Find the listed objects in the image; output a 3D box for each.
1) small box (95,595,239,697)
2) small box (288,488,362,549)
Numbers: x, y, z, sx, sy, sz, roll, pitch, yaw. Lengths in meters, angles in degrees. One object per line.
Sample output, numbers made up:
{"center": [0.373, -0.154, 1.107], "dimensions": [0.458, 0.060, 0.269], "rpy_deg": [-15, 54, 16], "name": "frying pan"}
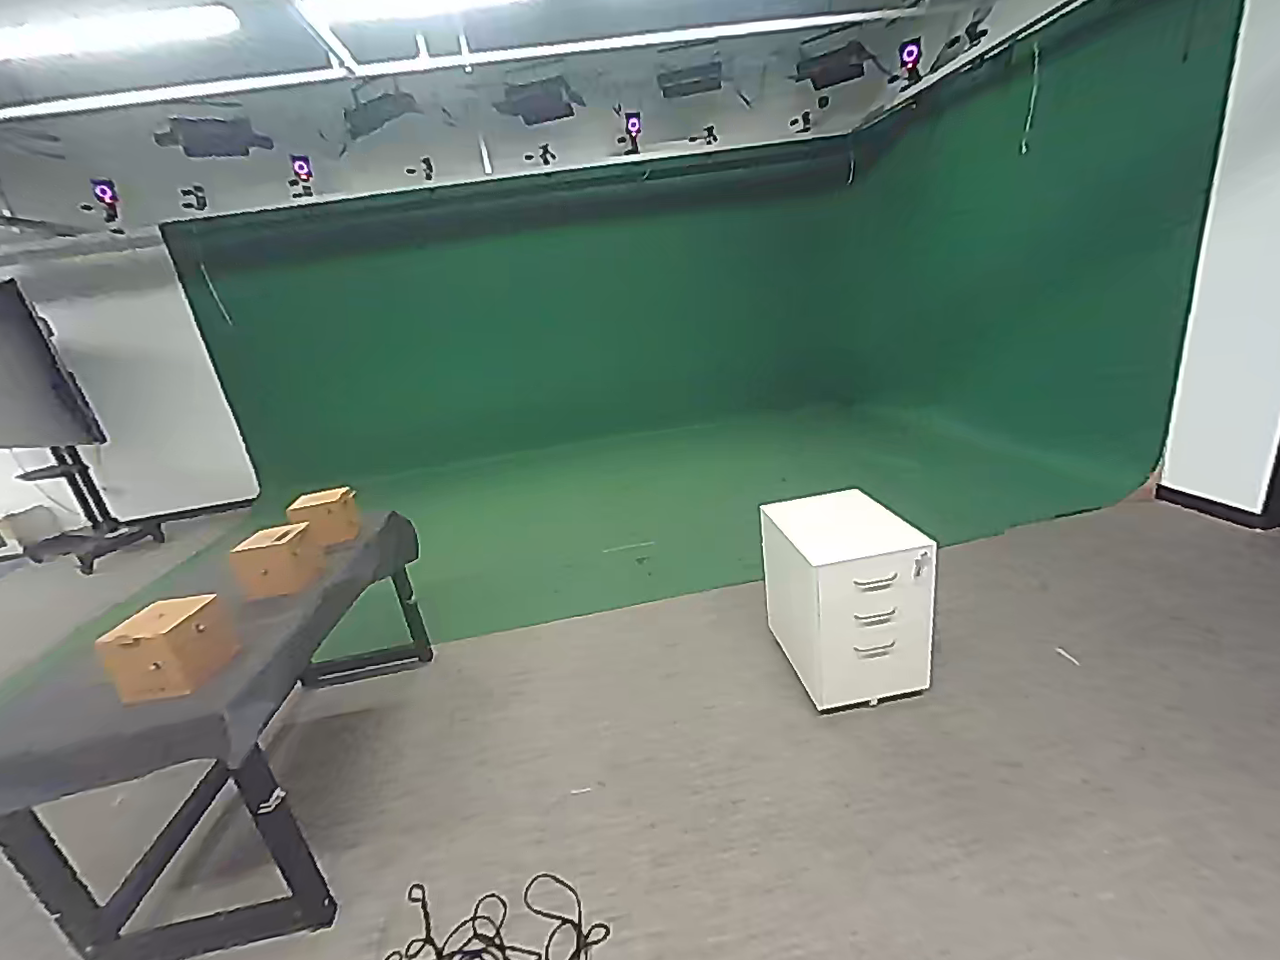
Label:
{"center": [-1.112, 0.399, 1.291], "dimensions": [0.168, 0.176, 0.179], "rpy_deg": [-7, 18, 2], "name": "small box"}
{"center": [-1.188, 0.146, 2.049], "dimensions": [0.179, 0.176, 0.168], "rpy_deg": [-12, 19, -9], "name": "small box"}
